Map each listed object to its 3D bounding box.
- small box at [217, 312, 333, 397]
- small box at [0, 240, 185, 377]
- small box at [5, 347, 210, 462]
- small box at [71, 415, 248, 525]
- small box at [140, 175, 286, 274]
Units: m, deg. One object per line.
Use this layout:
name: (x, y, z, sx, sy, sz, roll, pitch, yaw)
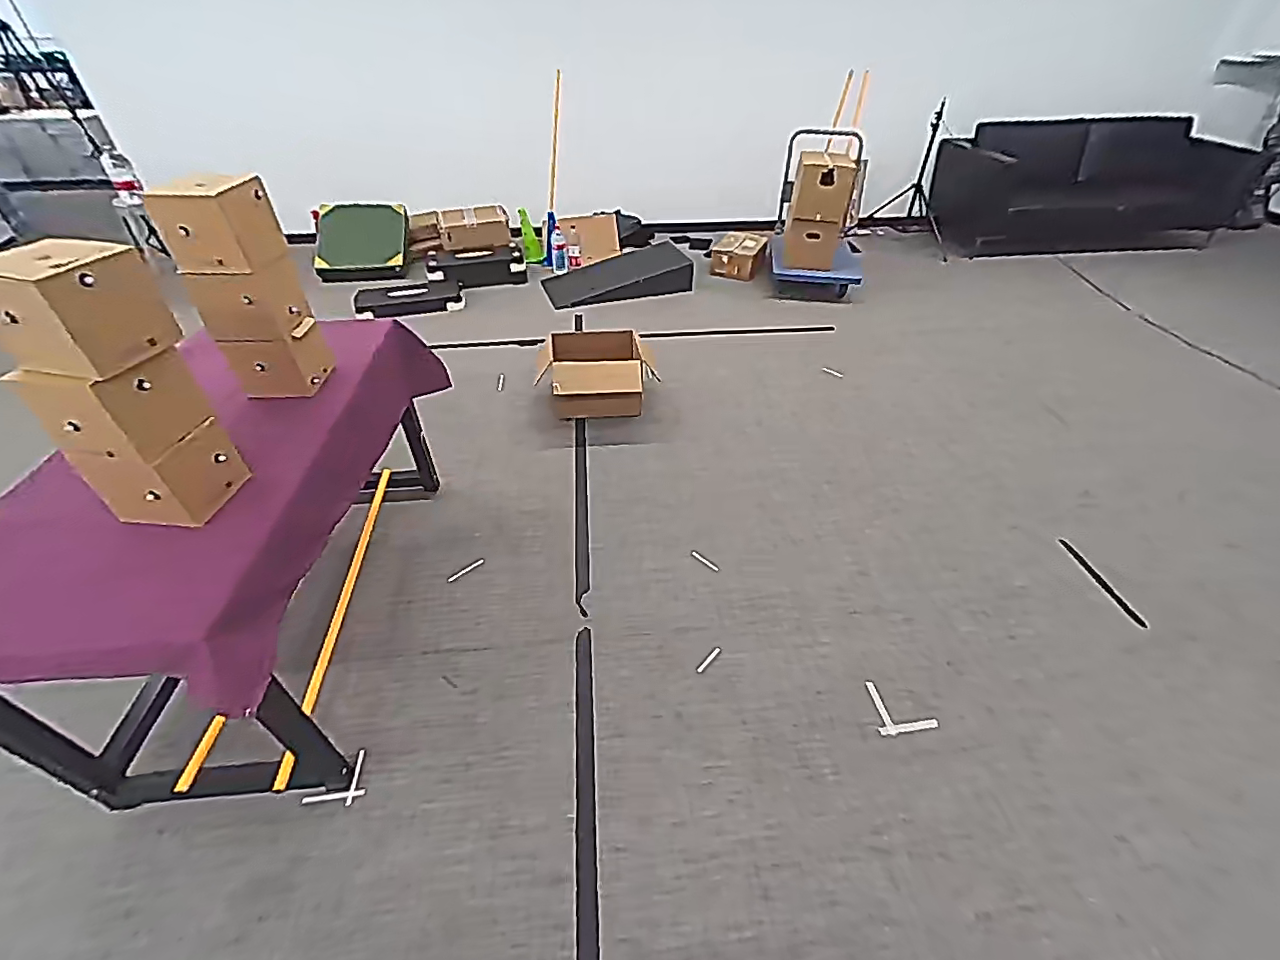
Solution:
small box: (-0.962, -0.335, 1.447, 0.179, 0.176, 0.168, -2, 42, -1)
small box: (-0.936, -0.286, 0.903, 0.179, 0.176, 0.168, 8, 41, 9)
small box: (-0.958, -0.151, 0.997, 0.168, 0.176, 0.179, 6, 41, 5)
small box: (-0.957, -0.025, 1.101, 0.179, 0.176, 0.168, 4, 41, 5)
small box: (-0.956, -0.582, 1.235, 0.168, 0.176, 0.179, 1, 41, 0)
